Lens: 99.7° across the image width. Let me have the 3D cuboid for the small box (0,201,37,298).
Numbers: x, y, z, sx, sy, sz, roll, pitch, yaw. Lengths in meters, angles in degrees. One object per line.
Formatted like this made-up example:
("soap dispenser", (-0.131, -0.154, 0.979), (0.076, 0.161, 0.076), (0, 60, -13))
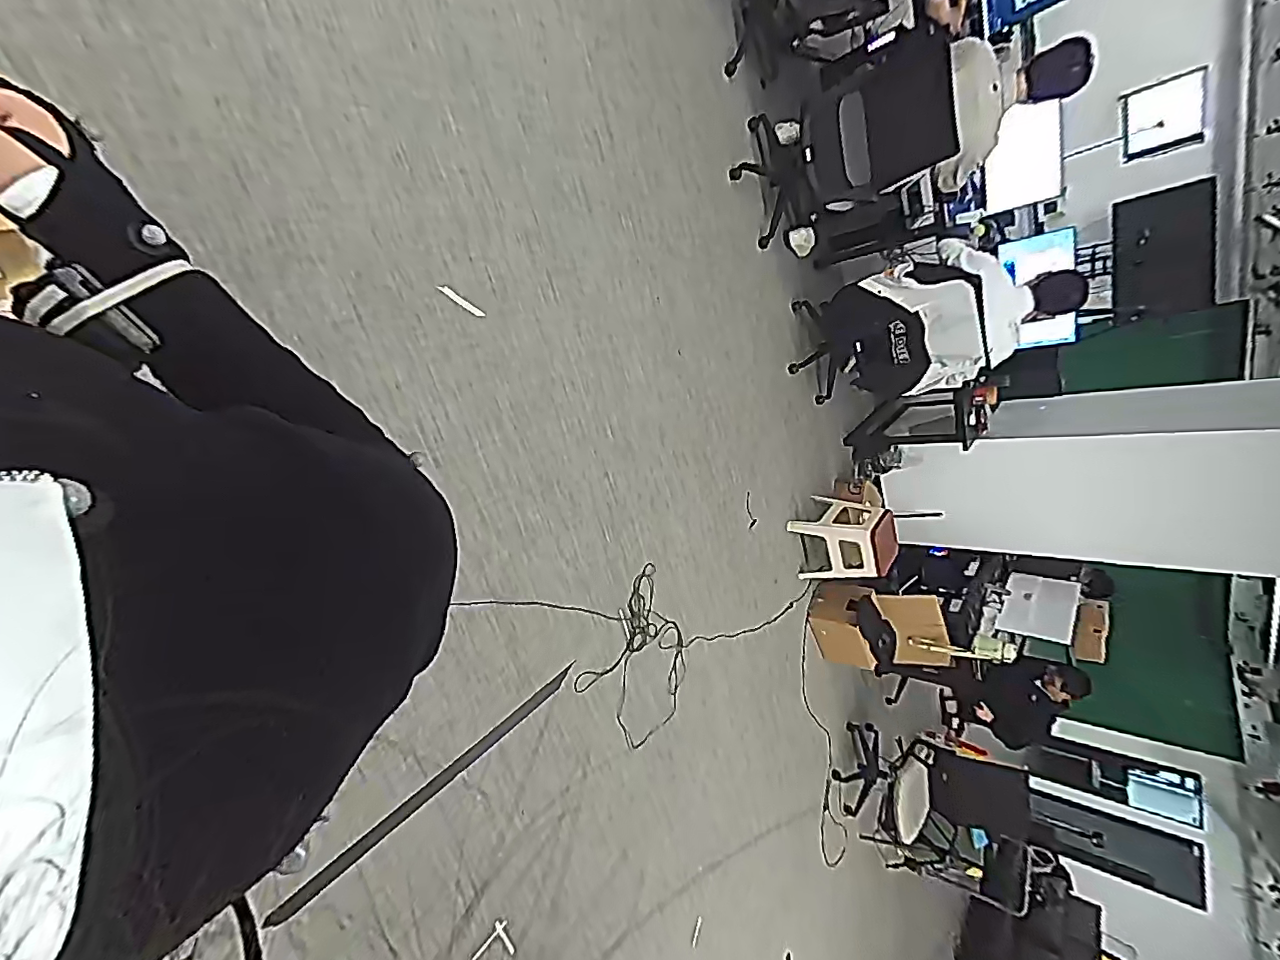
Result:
("small box", (-0.814, -0.283, 0.579), (0.179, 0.176, 0.168), (-35, 116, -42))
